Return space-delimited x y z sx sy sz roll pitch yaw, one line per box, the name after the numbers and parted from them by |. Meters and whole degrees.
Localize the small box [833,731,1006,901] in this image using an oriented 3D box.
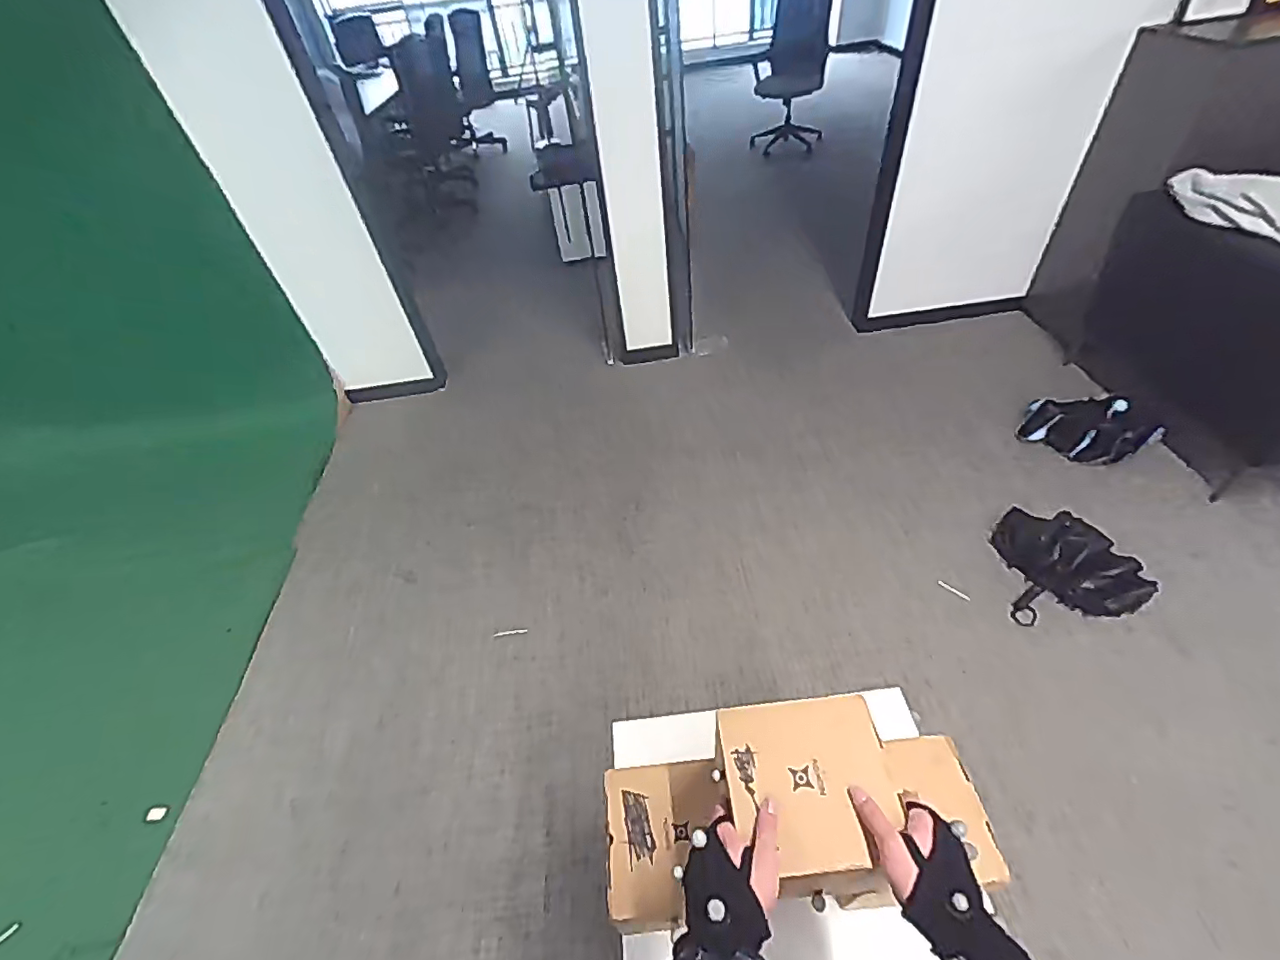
0.345 0.463 0.743 0.179 0.176 0.168 -6 46 2 | small box

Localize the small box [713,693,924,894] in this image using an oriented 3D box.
0.186 0.365 0.628 0.179 0.176 0.168 -5 47 0 | small box

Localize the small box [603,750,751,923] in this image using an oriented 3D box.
0.046 0.491 0.743 0.179 0.176 0.168 -5 47 -2 | small box
